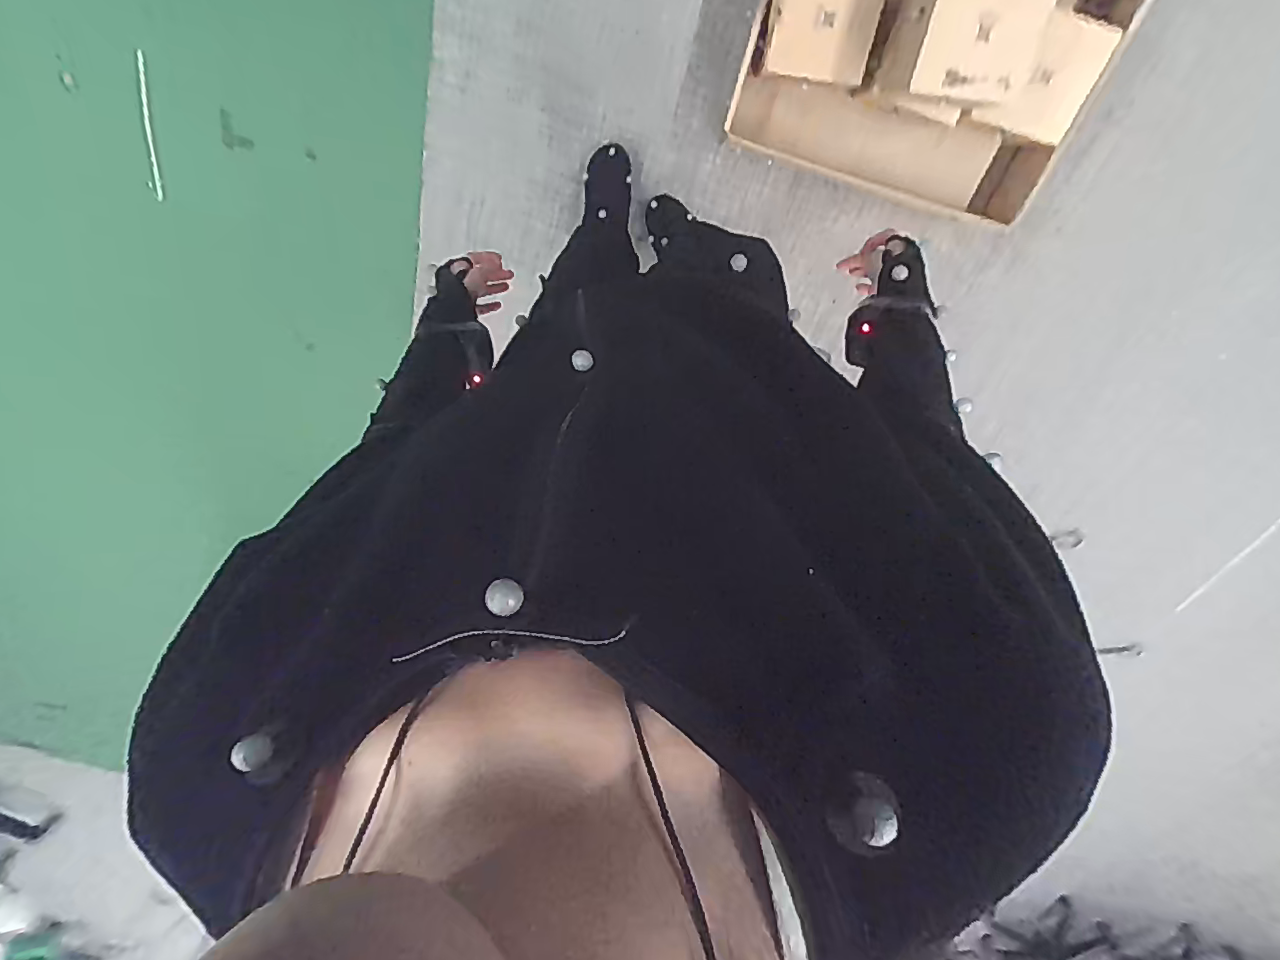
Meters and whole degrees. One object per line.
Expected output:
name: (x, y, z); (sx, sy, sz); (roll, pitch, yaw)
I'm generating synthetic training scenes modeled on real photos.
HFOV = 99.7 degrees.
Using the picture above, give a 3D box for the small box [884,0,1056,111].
small box: (0.507, -0.699, 0.848); (0.168, 0.176, 0.179); (9, 122, 2)

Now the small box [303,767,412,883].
small box: (-0.668, 0.820, 1.295); (0.179, 0.176, 0.168); (17, 121, -4)
